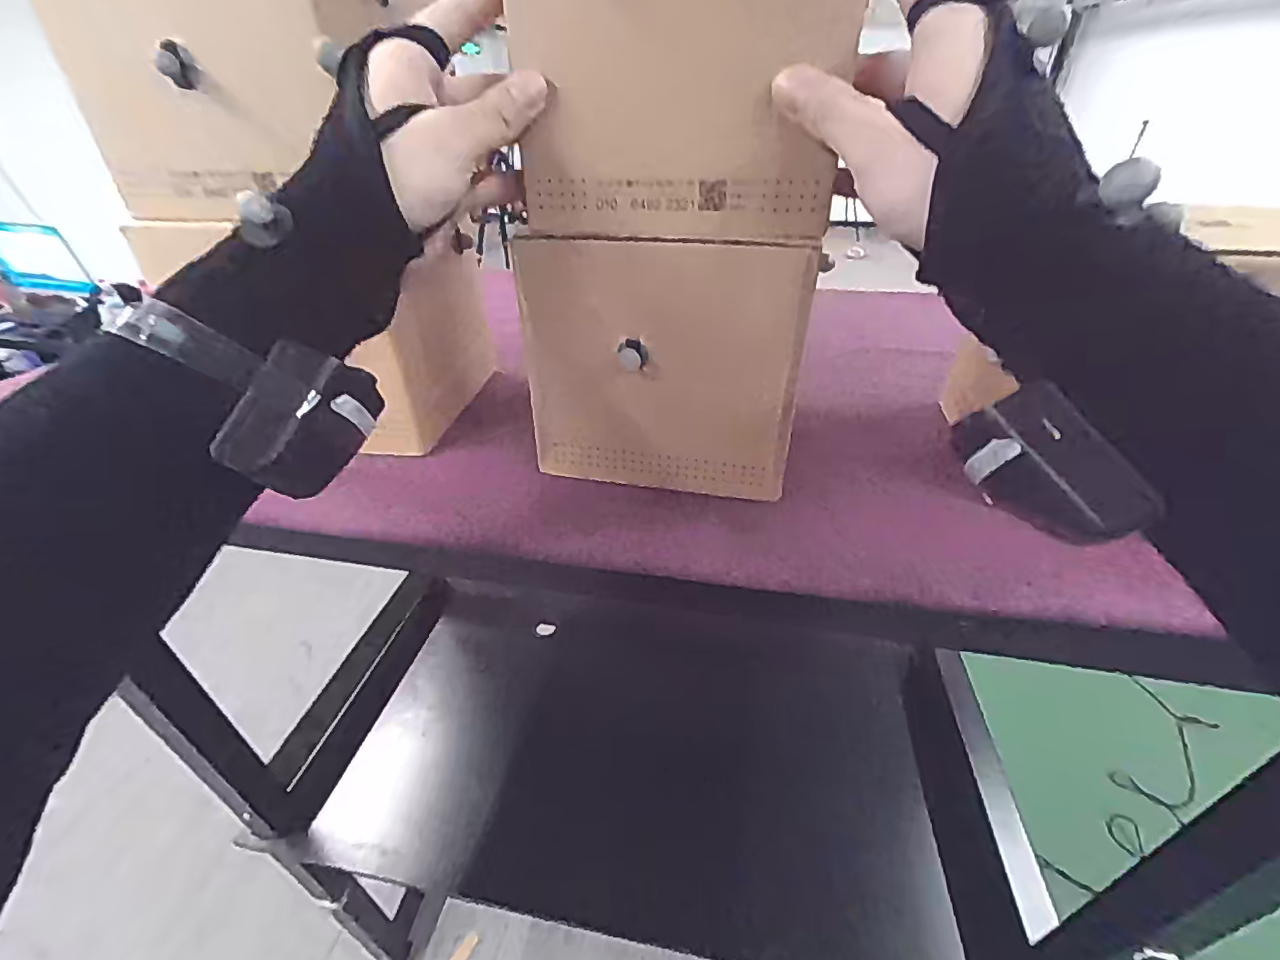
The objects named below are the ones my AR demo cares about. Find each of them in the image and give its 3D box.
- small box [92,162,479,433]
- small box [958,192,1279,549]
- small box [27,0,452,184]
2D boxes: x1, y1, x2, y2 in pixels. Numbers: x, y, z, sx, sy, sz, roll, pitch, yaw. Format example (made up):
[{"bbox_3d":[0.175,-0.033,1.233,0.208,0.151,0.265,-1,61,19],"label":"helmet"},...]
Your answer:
[{"bbox_3d":[-0.242,-0.150,0.432,0.168,0.176,0.179,5,35,5],"label":"small box"},{"bbox_3d":[0.327,-0.077,0.344,0.179,0.176,0.168,10,36,13],"label":"small box"},{"bbox_3d":[-0.240,-0.294,0.349,0.168,0.176,0.179,5,35,5],"label":"small box"}]
